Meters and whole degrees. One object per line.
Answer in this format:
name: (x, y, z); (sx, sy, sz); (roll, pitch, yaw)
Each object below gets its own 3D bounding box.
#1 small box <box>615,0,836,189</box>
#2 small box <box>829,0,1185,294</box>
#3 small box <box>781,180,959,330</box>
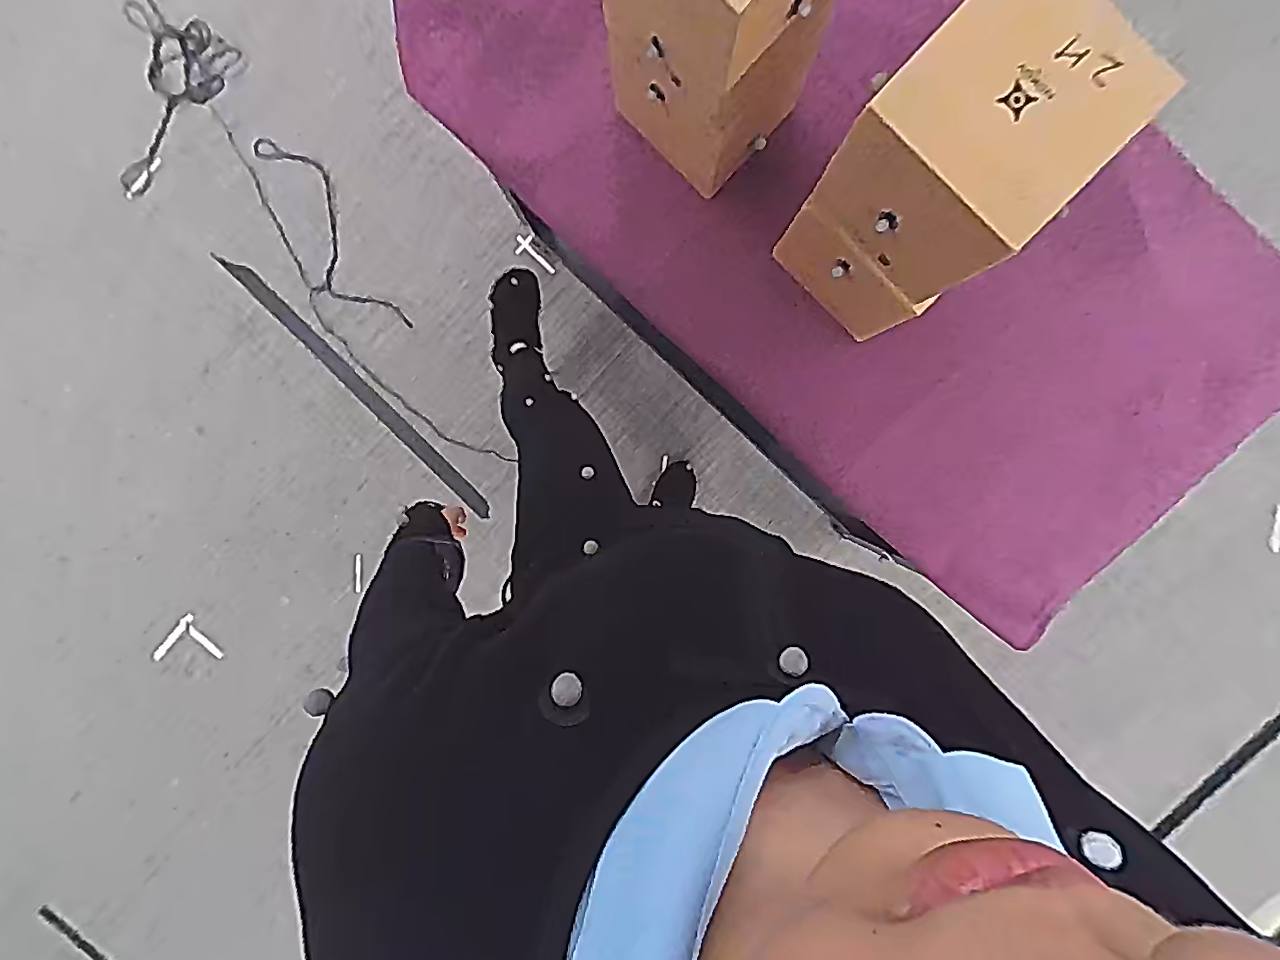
small box: (0.090, -0.495, 0.645); (0.179, 0.176, 0.168); (44, 94, -3)
small box: (0.298, -0.301, 0.491); (0.168, 0.176, 0.179); (45, 94, -2)
small box: (0.302, -0.303, 0.657); (0.179, 0.176, 0.168); (45, 94, -1)
